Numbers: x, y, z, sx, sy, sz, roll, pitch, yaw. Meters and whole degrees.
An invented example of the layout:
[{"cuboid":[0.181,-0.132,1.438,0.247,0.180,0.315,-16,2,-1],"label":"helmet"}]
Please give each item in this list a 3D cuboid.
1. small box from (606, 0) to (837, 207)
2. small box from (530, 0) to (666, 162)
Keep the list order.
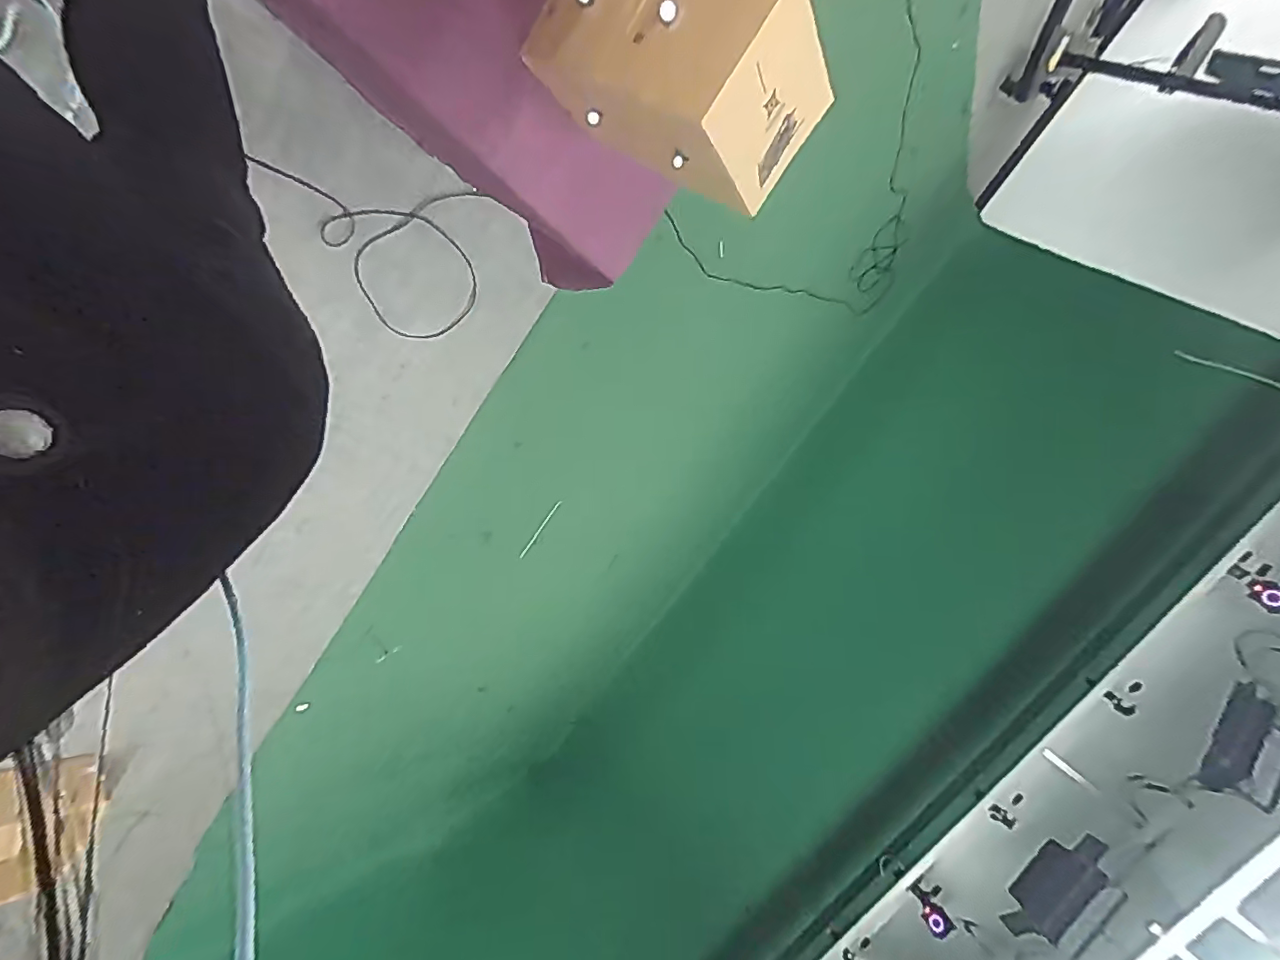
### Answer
[{"cuboid":[0.096,-0.465,0.631,0.168,0.176,0.179,-56,150,11],"label":"small box"},{"cuboid":[-0.011,-0.563,0.709,0.168,0.176,0.179,-55,150,12],"label":"small box"}]
